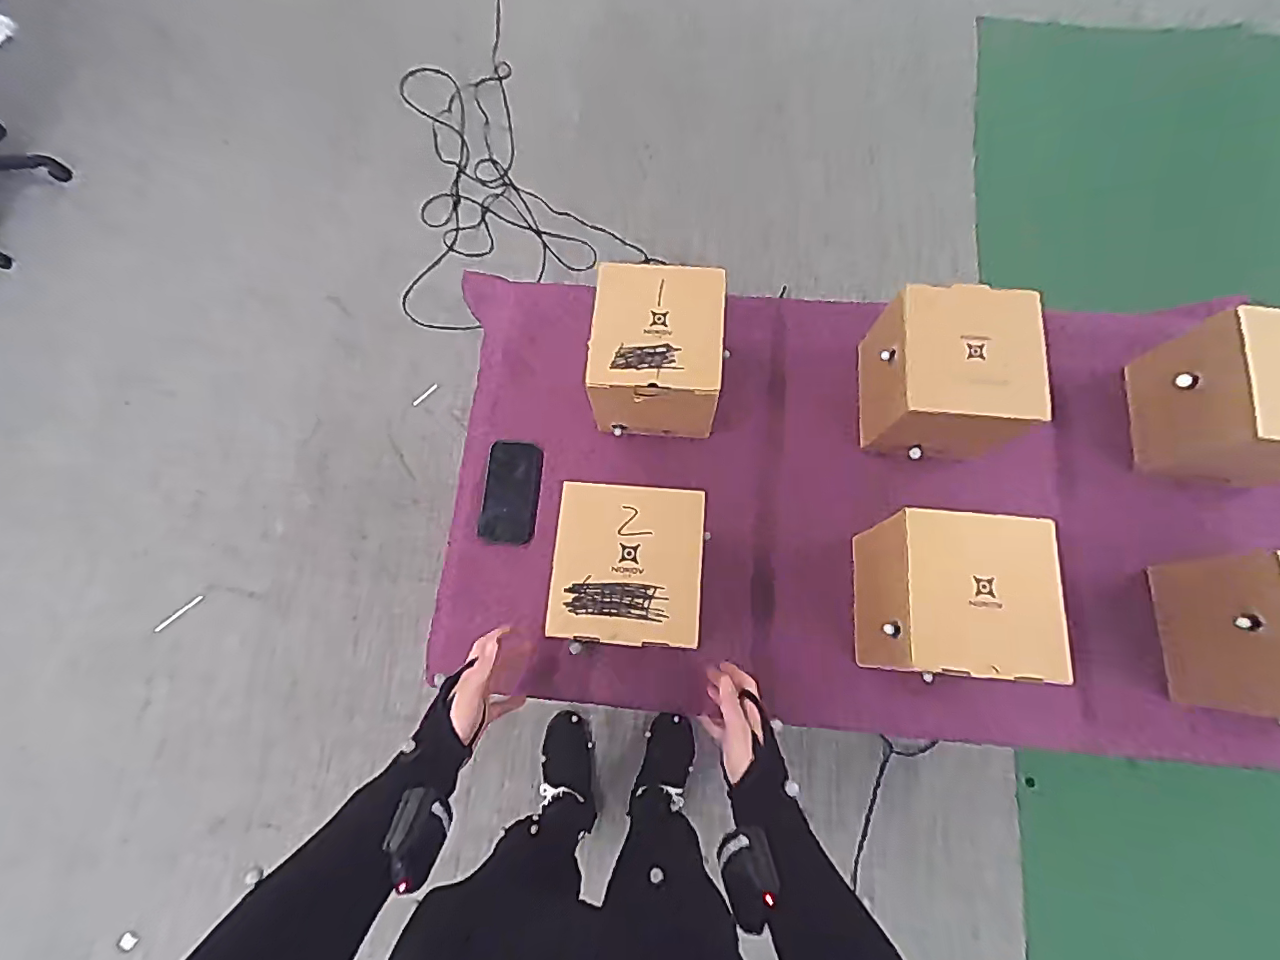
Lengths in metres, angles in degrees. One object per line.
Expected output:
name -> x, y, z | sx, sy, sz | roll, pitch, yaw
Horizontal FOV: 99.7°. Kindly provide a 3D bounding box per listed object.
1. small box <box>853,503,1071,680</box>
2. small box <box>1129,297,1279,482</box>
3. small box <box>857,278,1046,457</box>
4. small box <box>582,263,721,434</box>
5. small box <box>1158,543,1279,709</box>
small box -> 0.369, 0.137, 0.655 | 0.168, 0.176, 0.179 | 4, 74, 3
small box -> 0.791, -0.110, 0.705 | 0.168, 0.176, 0.179 | 6, 75, 4
small box -> 0.403, -0.144, 0.731 | 0.168, 0.176, 0.179 | 5, 76, 4
small box -> 0.021, -0.173, 0.751 | 0.168, 0.176, 0.179 | 4, 75, 3
small box -> 0.758, 0.175, 0.625 | 0.168, 0.176, 0.179 | 3, 75, 5
